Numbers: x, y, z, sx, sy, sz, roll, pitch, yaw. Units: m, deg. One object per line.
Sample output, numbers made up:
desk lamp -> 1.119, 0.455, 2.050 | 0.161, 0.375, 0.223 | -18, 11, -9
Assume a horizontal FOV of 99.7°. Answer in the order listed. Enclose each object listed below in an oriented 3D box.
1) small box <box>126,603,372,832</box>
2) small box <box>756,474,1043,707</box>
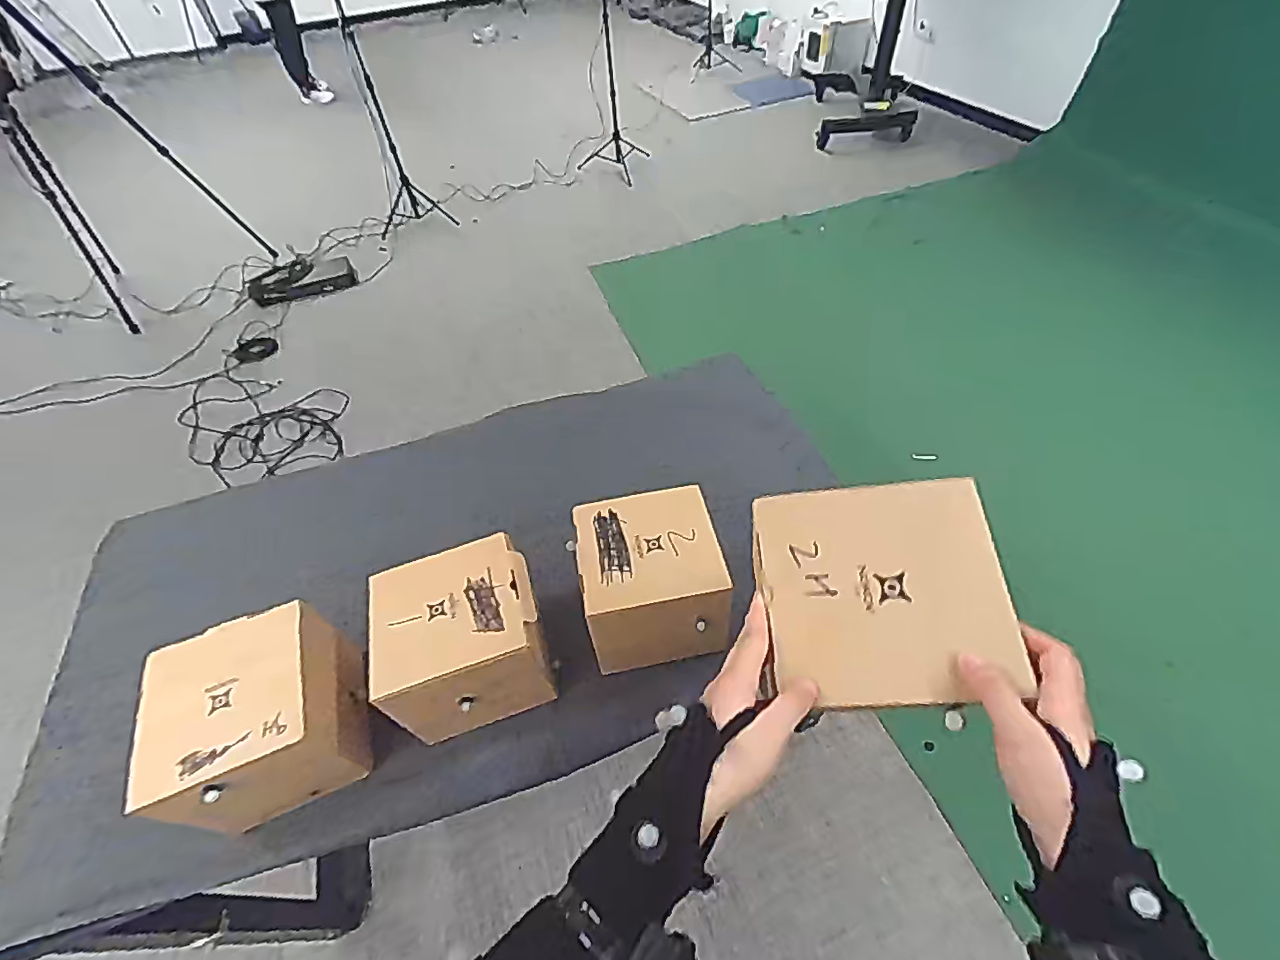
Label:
small box -> -0.443, 0.284, 0.645 | 0.168, 0.176, 0.179 | -21, 52, -11
small box -> 0.199, 0.108, 0.478 | 0.179, 0.176, 0.168 | -6, 65, 10
